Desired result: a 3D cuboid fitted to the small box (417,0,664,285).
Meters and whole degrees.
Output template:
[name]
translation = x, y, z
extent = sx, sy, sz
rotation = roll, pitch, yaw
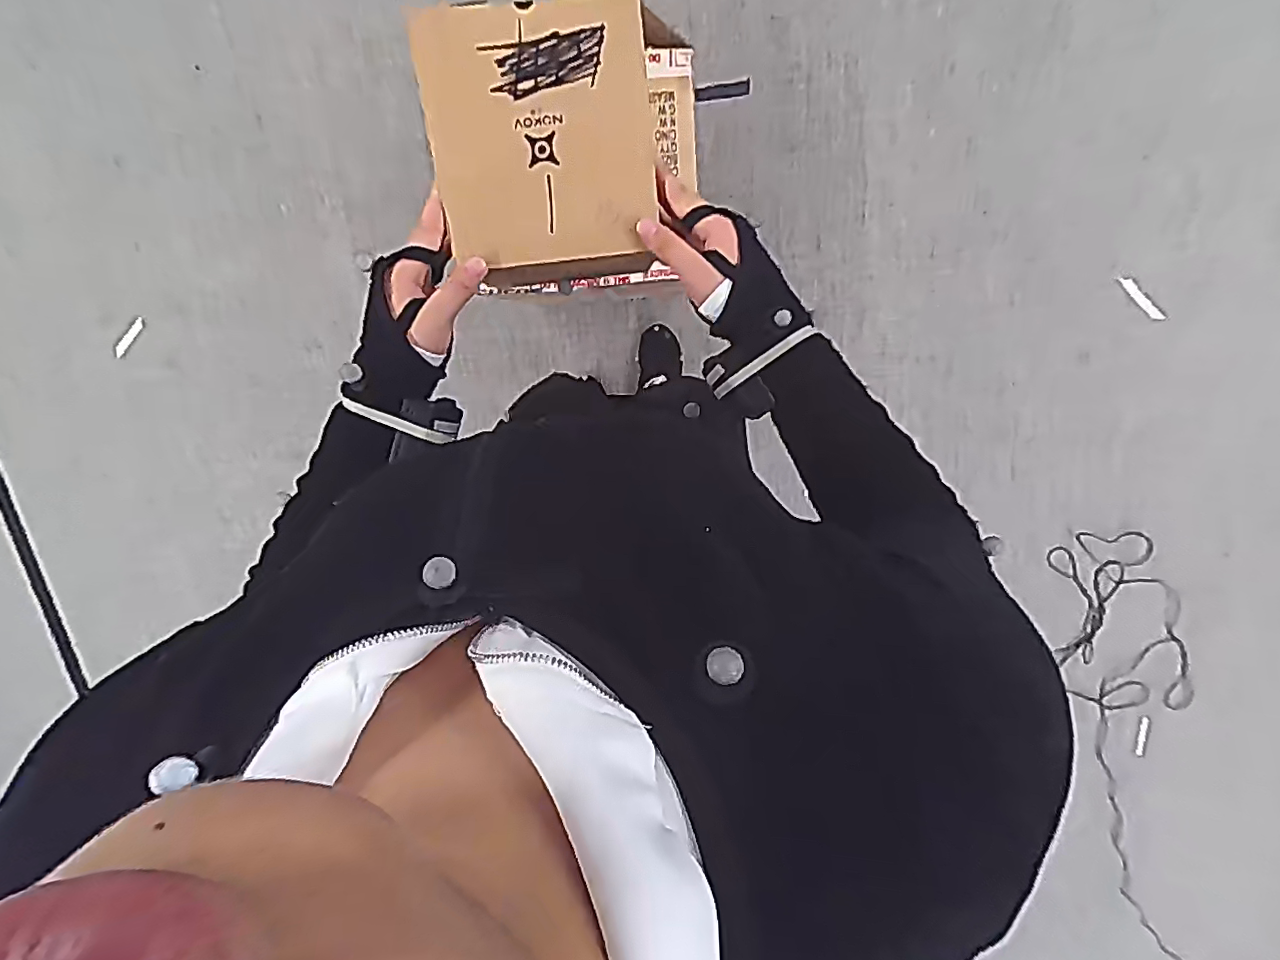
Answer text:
[small box]
translation = -0.075, -0.279, 0.481
extent = 0.168, 0.176, 0.179
rotation = -7, 106, -1
